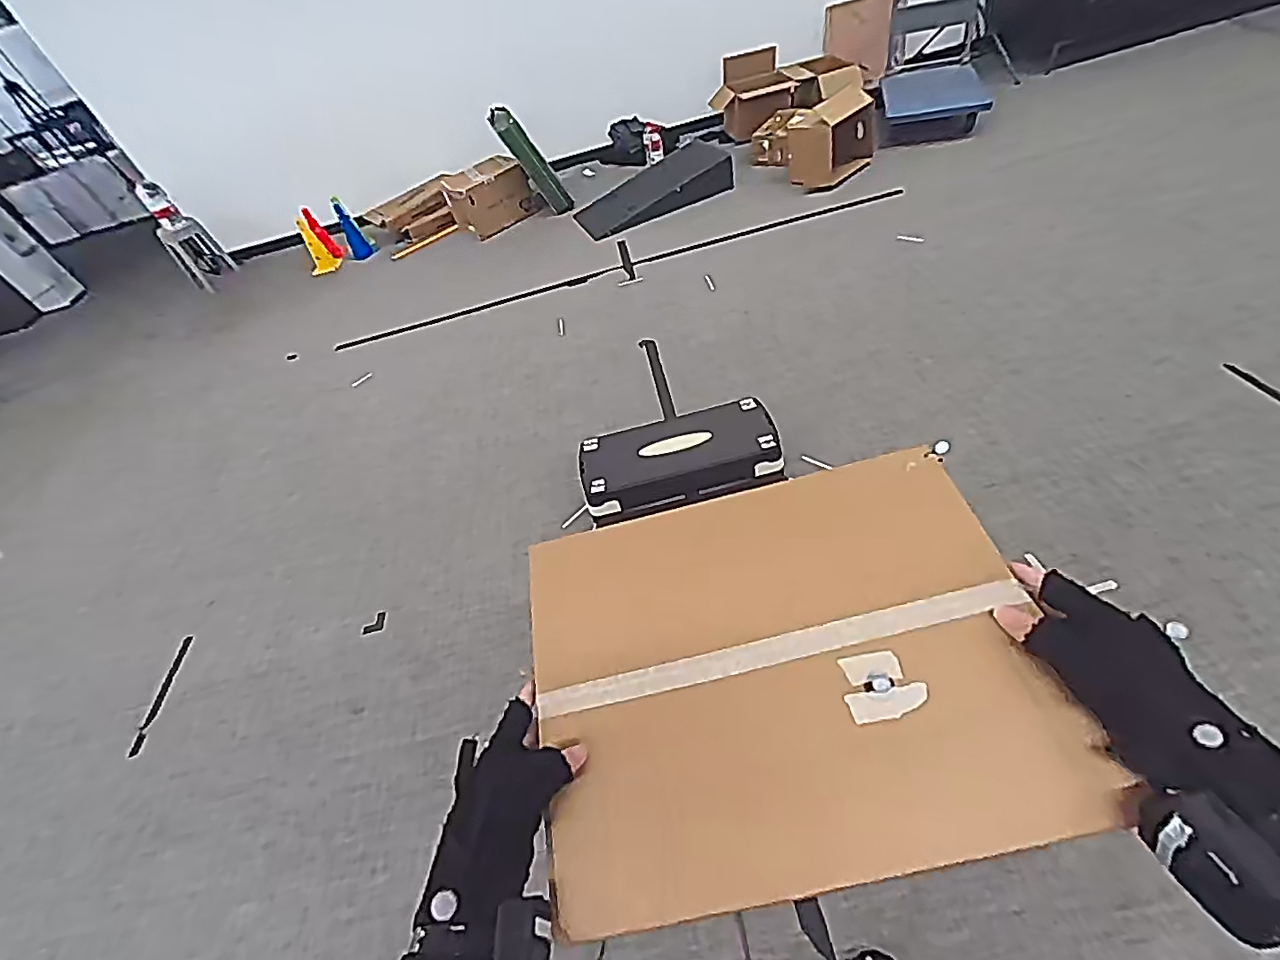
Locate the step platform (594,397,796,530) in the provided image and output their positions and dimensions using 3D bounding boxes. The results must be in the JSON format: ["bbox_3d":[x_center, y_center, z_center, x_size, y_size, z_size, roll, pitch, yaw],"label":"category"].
[{"bbox_3d":[0.181,-0.063,1.879,0.684,0.204,0.286,-15,47,1],"label":"step platform"}]

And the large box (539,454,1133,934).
[{"bbox_3d":[0.142,0.229,0.575,0.408,0.320,0.320,-15,54,3],"label":"large box"}]
